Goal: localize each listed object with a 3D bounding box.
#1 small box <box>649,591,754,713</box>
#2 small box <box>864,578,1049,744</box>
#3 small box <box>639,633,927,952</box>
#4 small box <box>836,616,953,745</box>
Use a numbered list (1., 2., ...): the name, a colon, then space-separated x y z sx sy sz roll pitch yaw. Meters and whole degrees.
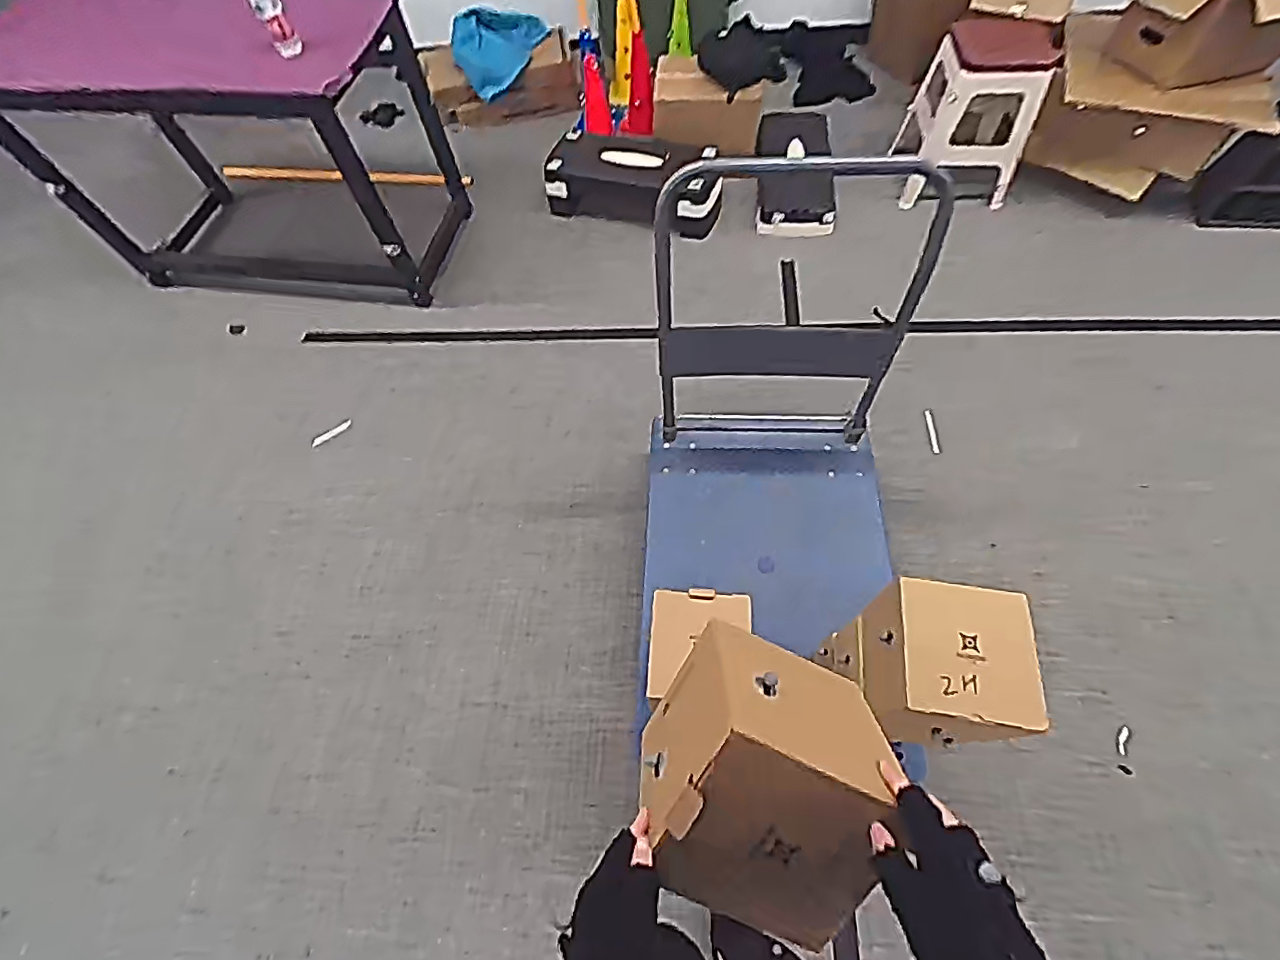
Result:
1. small box: 0.105 0.308 0.941 0.168 0.176 0.179 3 61 6
2. small box: 0.425 0.259 0.761 0.168 0.176 0.179 8 62 8
3. small box: 0.114 0.272 0.510 0.179 0.176 0.168 26 104 -4
4. small box: 0.433 0.341 0.904 0.179 0.176 0.168 6 62 6
